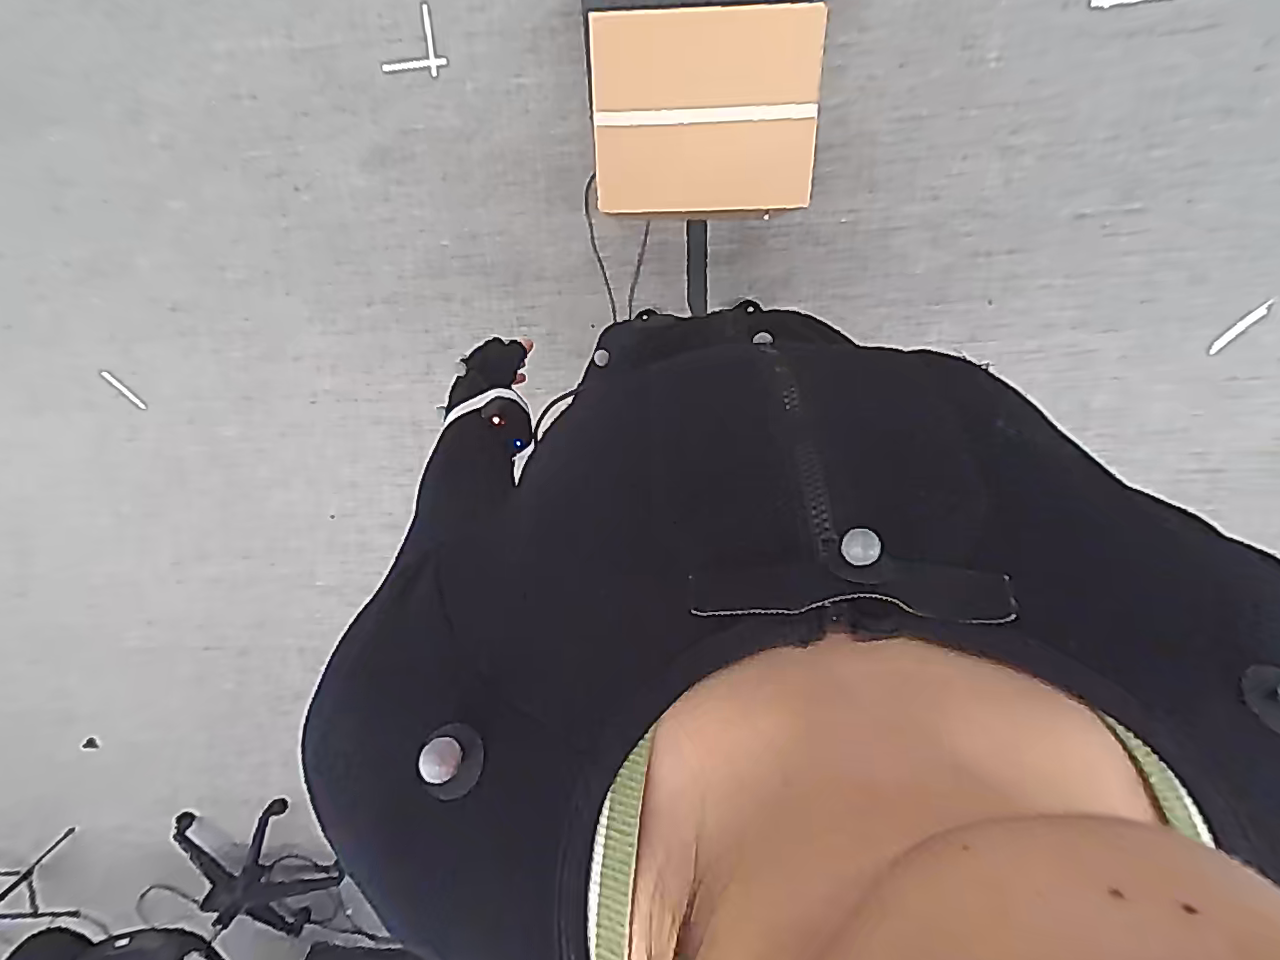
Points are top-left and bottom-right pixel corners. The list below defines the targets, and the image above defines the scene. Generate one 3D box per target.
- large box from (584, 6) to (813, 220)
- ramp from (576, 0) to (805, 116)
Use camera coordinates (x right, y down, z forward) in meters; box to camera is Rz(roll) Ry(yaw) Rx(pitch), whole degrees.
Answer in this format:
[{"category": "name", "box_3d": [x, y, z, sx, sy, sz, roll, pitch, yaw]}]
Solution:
[{"category": "large box", "box_3d": [0.110, -0.721, 1.122, 0.408, 0.320, 0.320, 0, 112, 2]}, {"category": "ramp", "box_3d": [0.092, -1.283, 1.006, 0.509, 0.206, 0.991, -4, 109, 2]}]
